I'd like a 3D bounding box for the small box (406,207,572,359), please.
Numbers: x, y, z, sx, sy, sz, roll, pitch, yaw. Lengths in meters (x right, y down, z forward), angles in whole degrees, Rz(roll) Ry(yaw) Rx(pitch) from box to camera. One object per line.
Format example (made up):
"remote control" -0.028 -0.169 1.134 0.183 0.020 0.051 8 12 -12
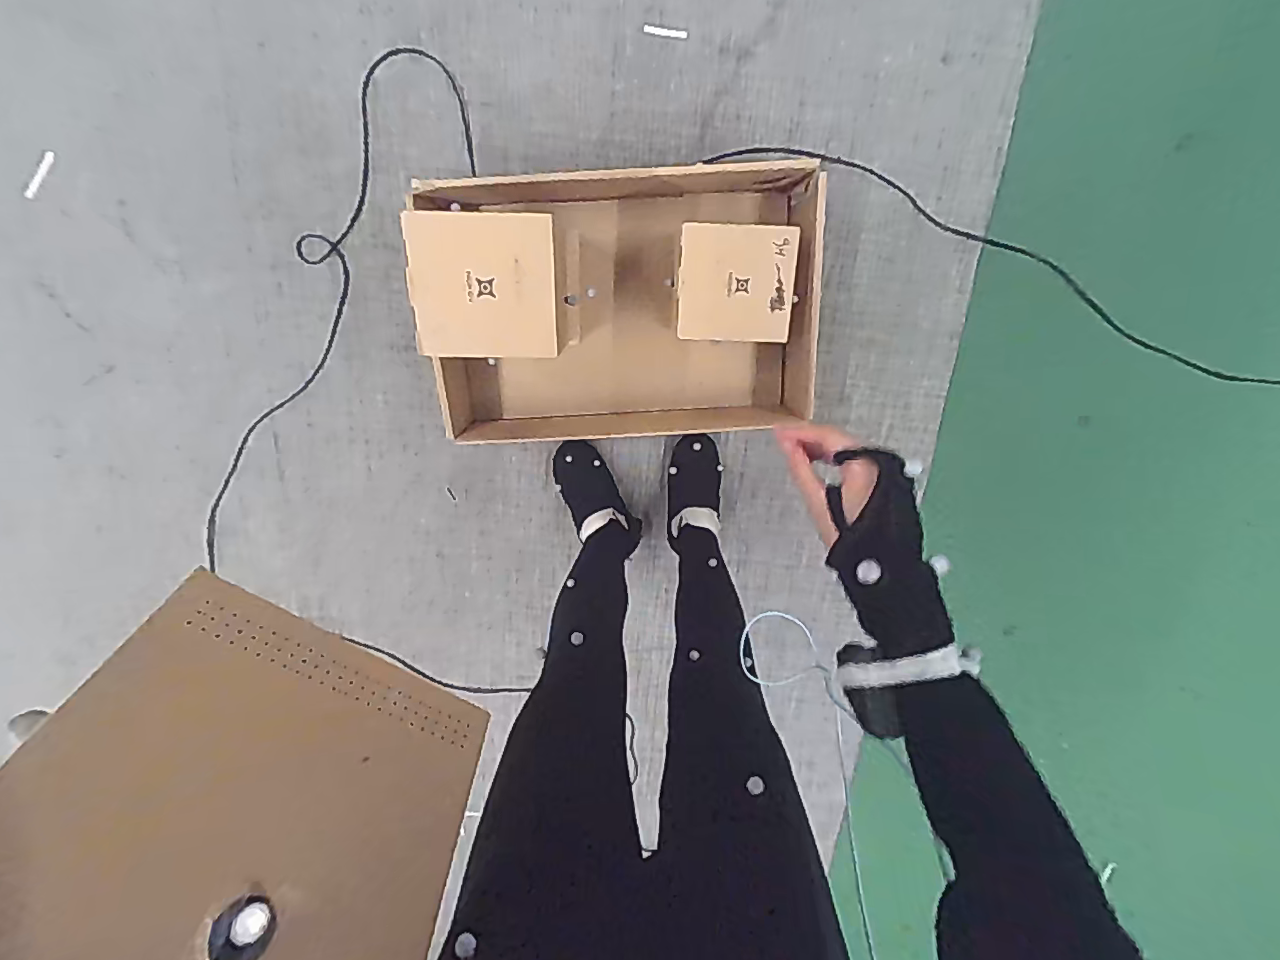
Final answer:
"small box" -0.187 -0.257 0.720 0.179 0.176 0.168 1 110 -3

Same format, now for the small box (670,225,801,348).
"small box" 0.143 -0.311 0.883 0.179 0.176 0.168 3 109 -2
